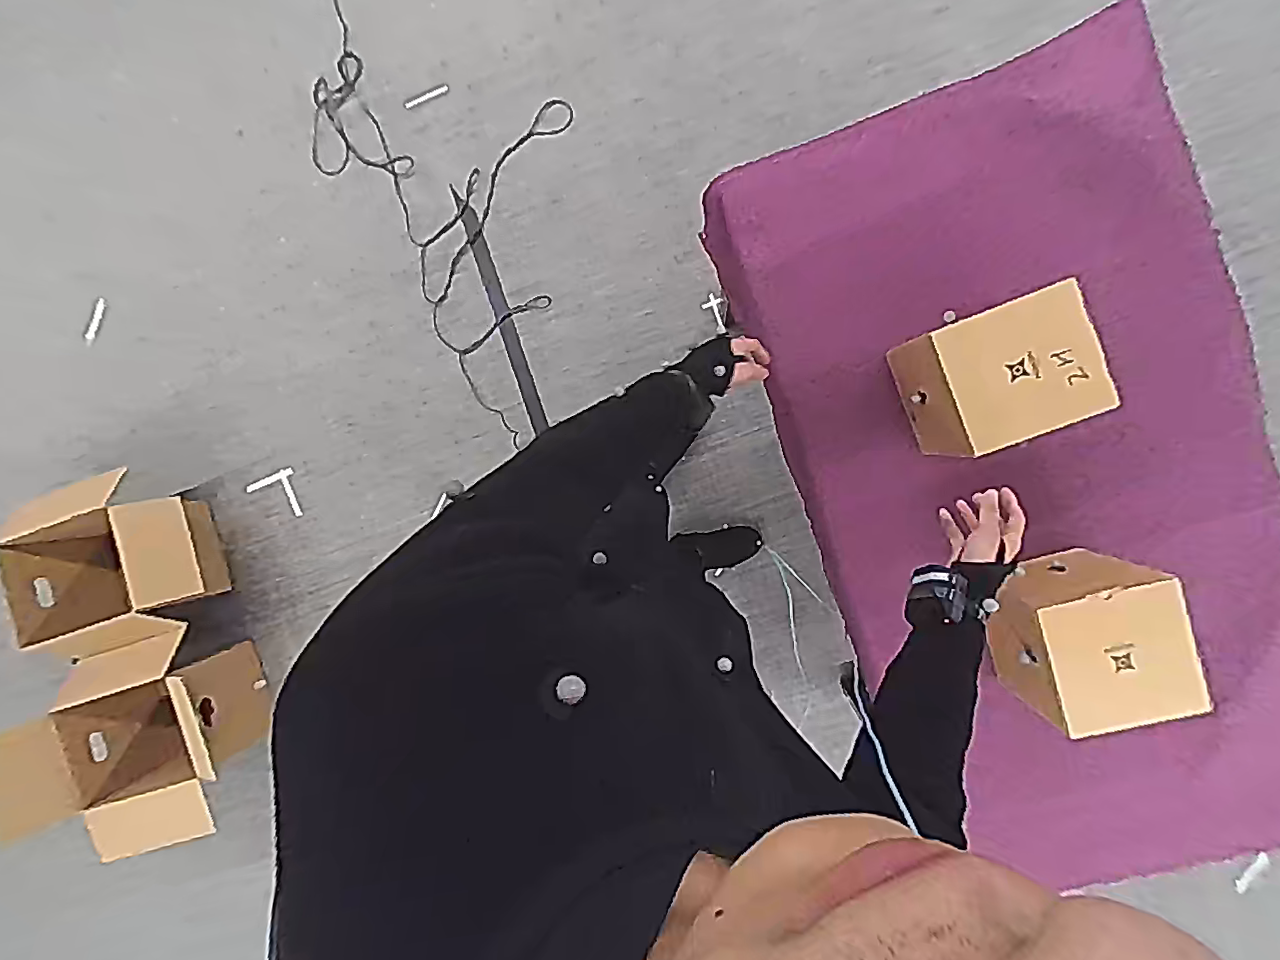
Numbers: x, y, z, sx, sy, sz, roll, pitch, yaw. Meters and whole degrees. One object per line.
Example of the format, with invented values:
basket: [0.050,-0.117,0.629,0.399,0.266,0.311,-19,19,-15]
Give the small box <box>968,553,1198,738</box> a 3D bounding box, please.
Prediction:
small box: [0.594,0.218,0.749,0.168,0.176,0.179,-16,92,7]

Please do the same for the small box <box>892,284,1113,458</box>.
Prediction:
small box: [0.467,-0.135,0.733,0.179,0.176,0.168,-20,92,7]
